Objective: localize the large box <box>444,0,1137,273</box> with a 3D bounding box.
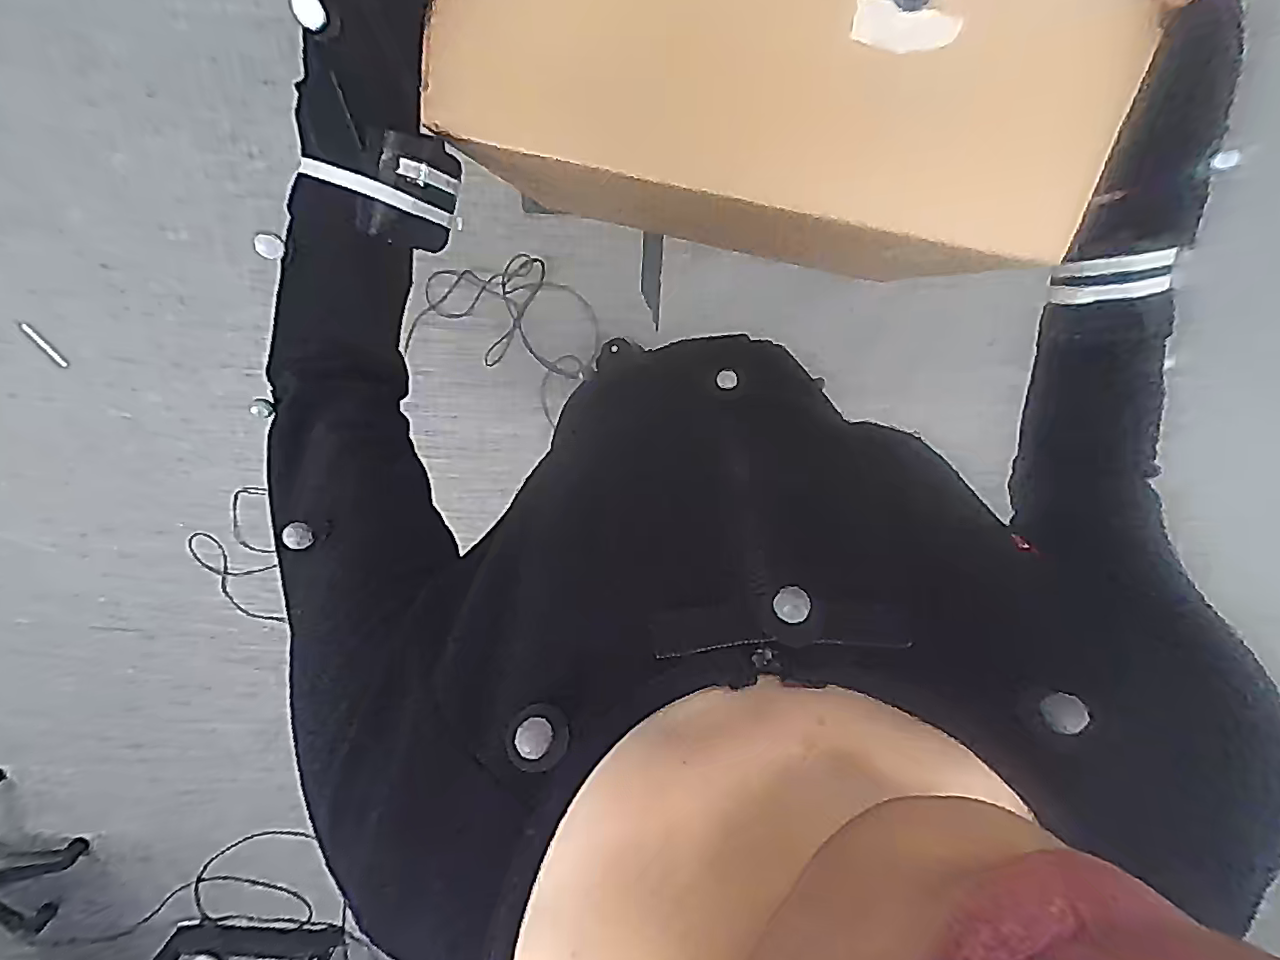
[{"bbox_3d":[0.100,-0.375,0.444,0.408,0.320,0.320,12,109,0],"label":"large box"}]
